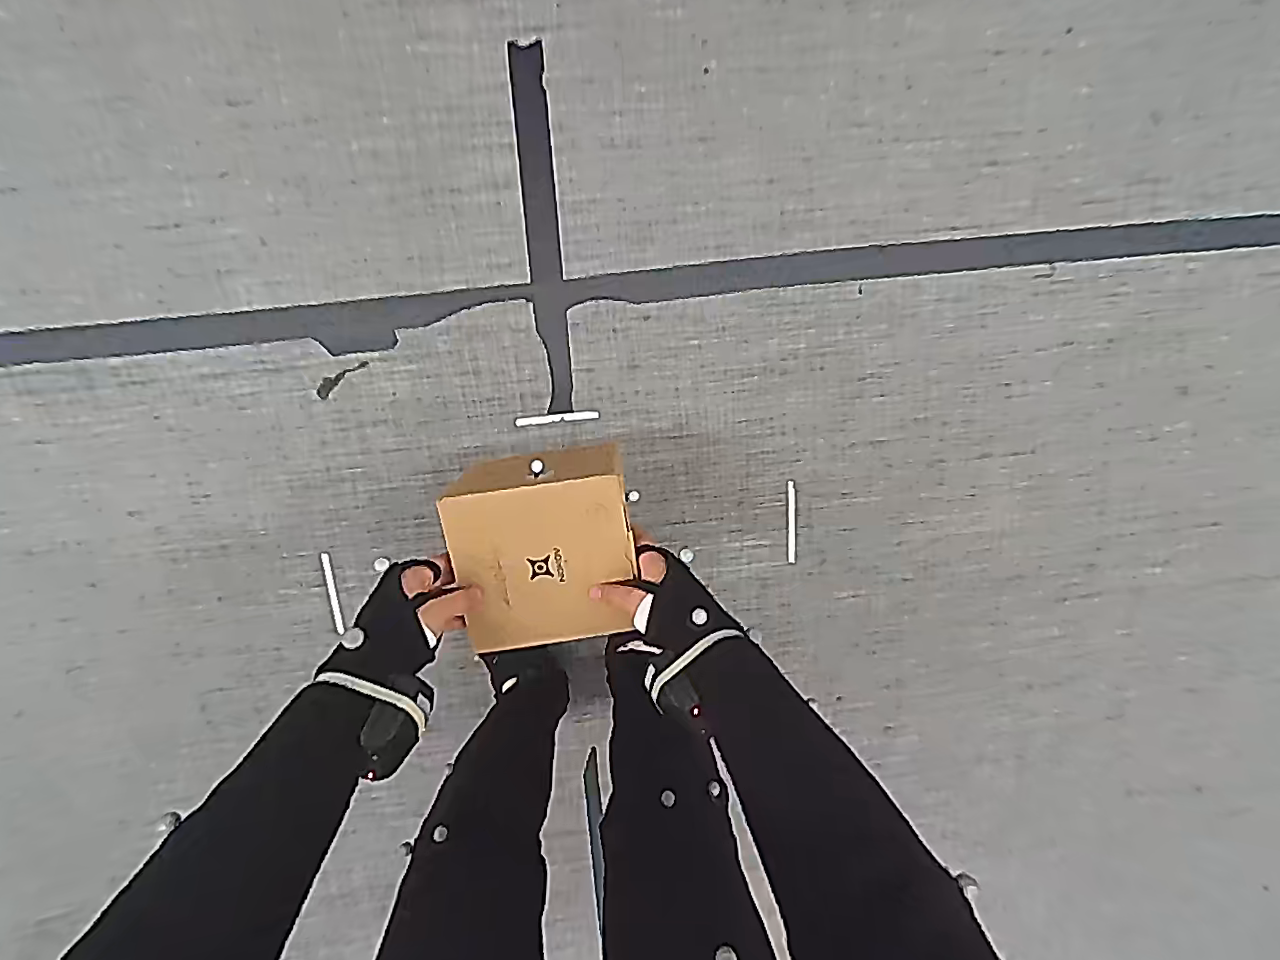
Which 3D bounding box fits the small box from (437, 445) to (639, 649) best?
[{"bbox_3d":[-0.102,0.063,0.611,0.179,0.176,0.168,-9,104,-1],"label":"small box"}]
